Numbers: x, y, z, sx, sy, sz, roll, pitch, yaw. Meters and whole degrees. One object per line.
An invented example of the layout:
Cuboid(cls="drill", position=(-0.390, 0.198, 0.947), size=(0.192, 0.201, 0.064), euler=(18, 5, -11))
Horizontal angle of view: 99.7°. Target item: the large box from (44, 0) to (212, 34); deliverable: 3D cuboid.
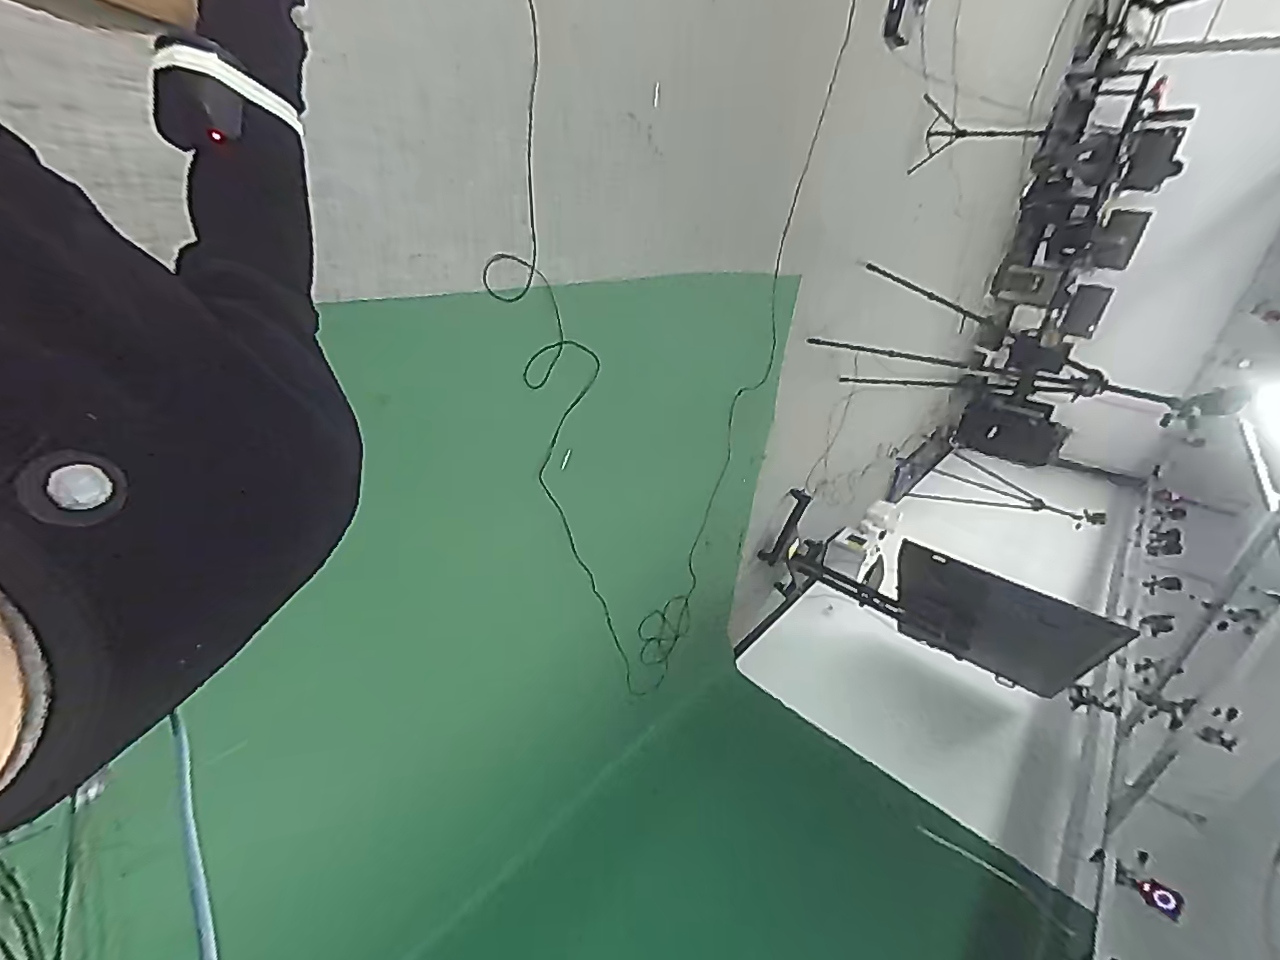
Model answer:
Cuboid(cls="large box", position=(-0.531, -0.517, 0.286), size=(0.408, 0.320, 0.320), euler=(-17, 129, -54))
